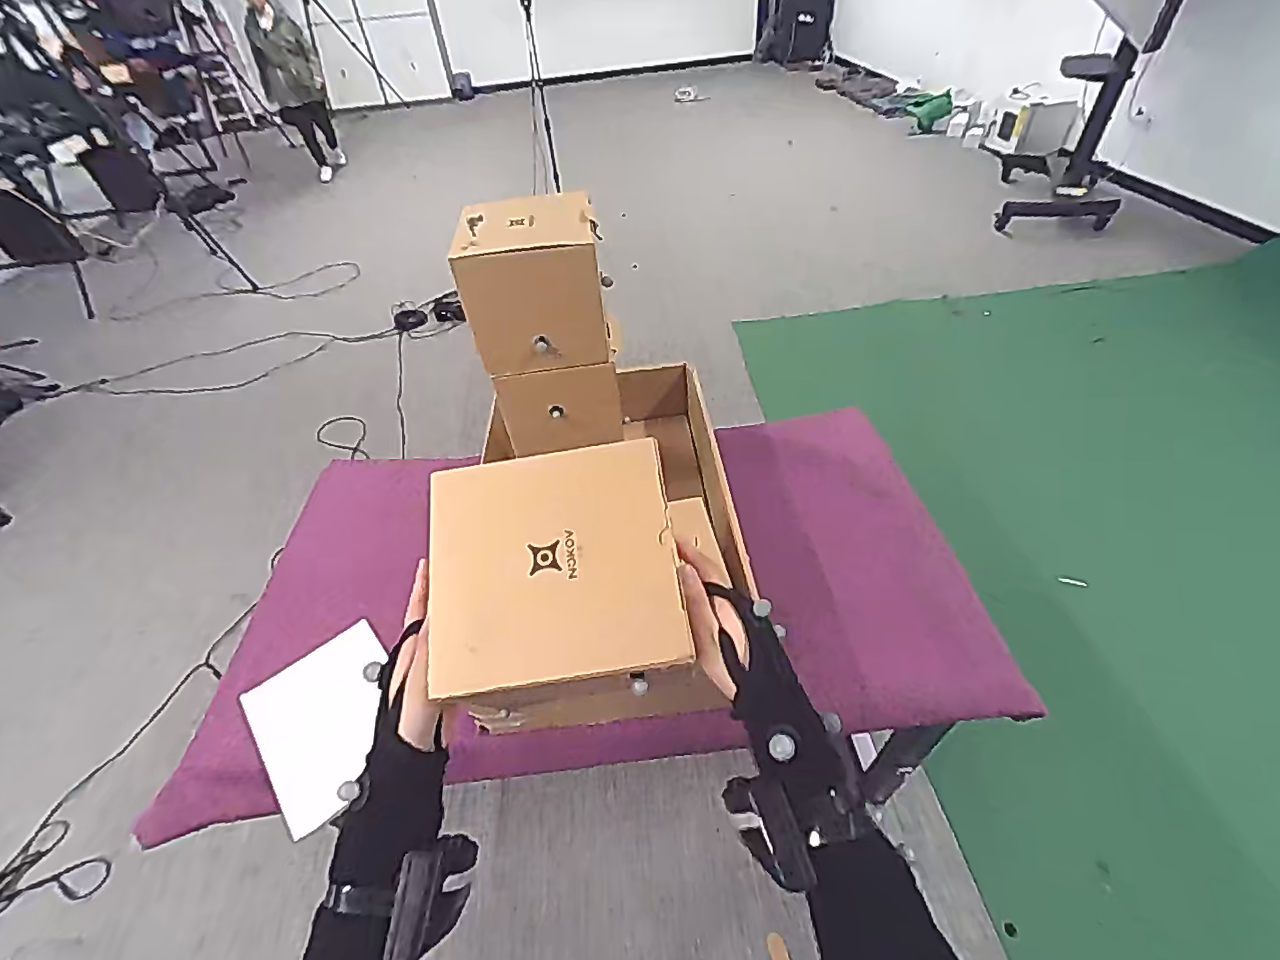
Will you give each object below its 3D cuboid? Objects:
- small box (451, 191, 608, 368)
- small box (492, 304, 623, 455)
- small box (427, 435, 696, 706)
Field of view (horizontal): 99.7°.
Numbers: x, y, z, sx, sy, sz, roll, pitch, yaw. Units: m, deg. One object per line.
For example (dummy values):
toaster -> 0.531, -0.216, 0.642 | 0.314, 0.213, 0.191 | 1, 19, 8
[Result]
small box -> -0.136, -0.272, 0.741 | 0.179, 0.176, 0.168 | -6, 46, -1
small box -> -0.123, -0.157, 0.857 | 0.179, 0.176, 0.168 | -9, 46, -2
small box -> -0.055, 0.085, 0.447 | 0.179, 0.176, 0.168 | -9, 65, -1
